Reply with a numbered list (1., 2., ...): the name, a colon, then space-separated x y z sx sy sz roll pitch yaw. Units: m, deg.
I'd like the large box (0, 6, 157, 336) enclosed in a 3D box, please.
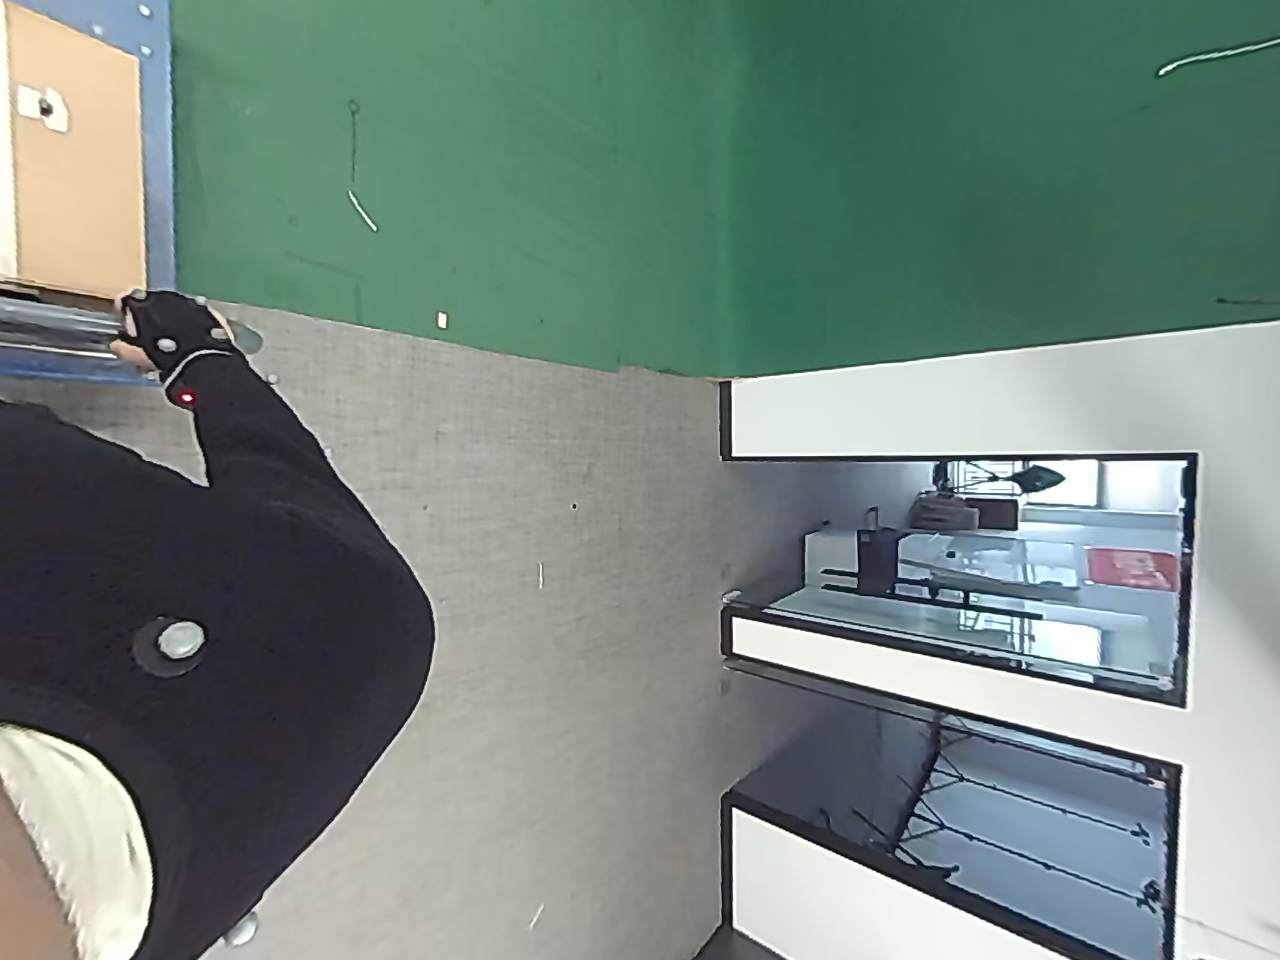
1. large box: -1.020 -0.475 0.866 0.320 0.320 0.408 -3 92 -52
